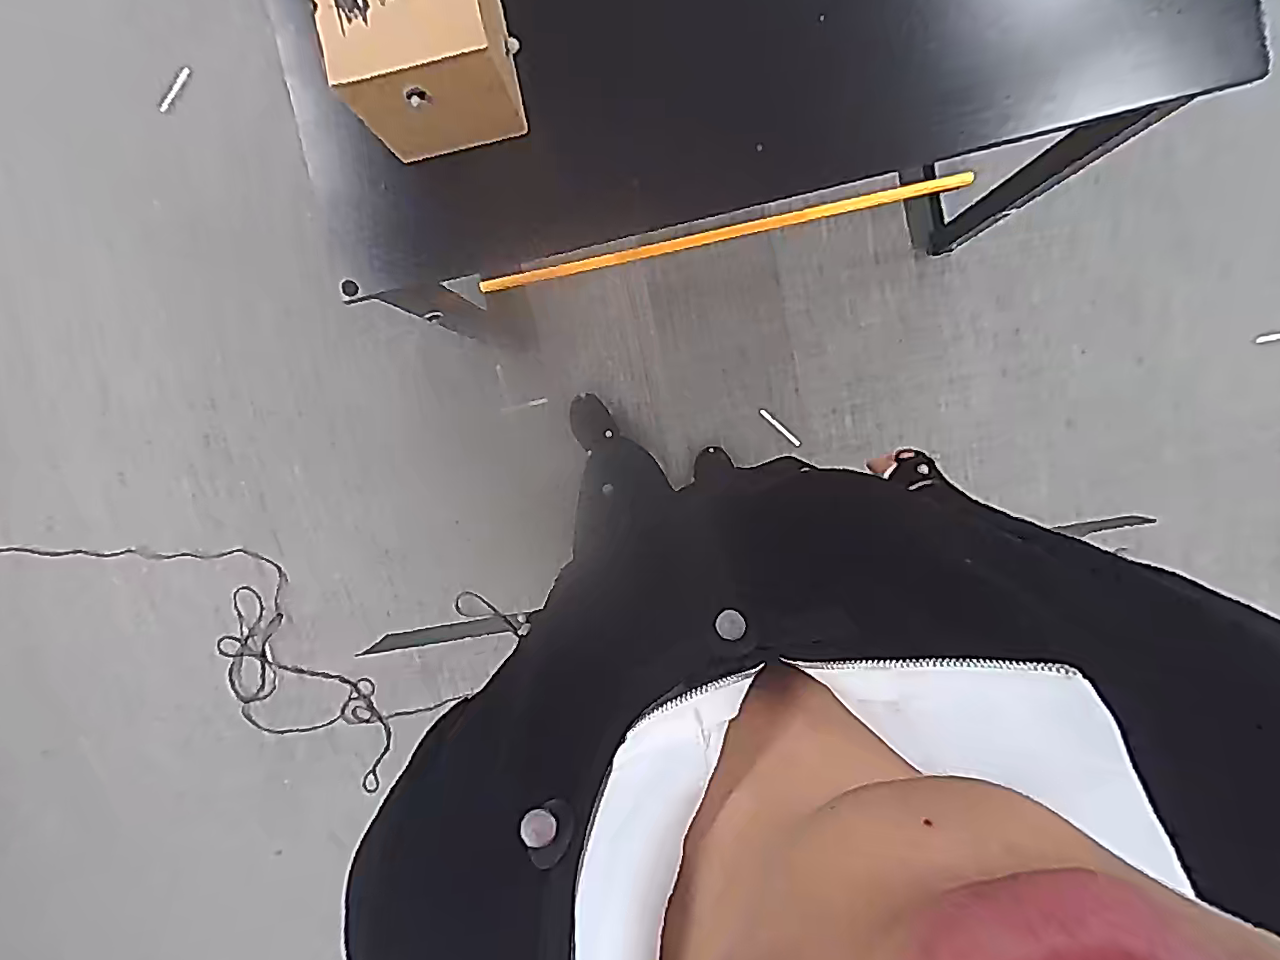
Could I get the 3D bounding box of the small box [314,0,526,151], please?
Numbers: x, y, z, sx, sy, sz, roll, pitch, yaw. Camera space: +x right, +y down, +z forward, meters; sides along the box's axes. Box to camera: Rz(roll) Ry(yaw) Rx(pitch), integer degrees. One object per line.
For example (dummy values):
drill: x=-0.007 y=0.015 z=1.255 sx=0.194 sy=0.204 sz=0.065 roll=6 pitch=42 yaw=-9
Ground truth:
small box: x=-0.252 y=-0.522 z=0.636 sx=0.179 sy=0.176 sz=0.168 roll=-11 pitch=96 yaw=3
